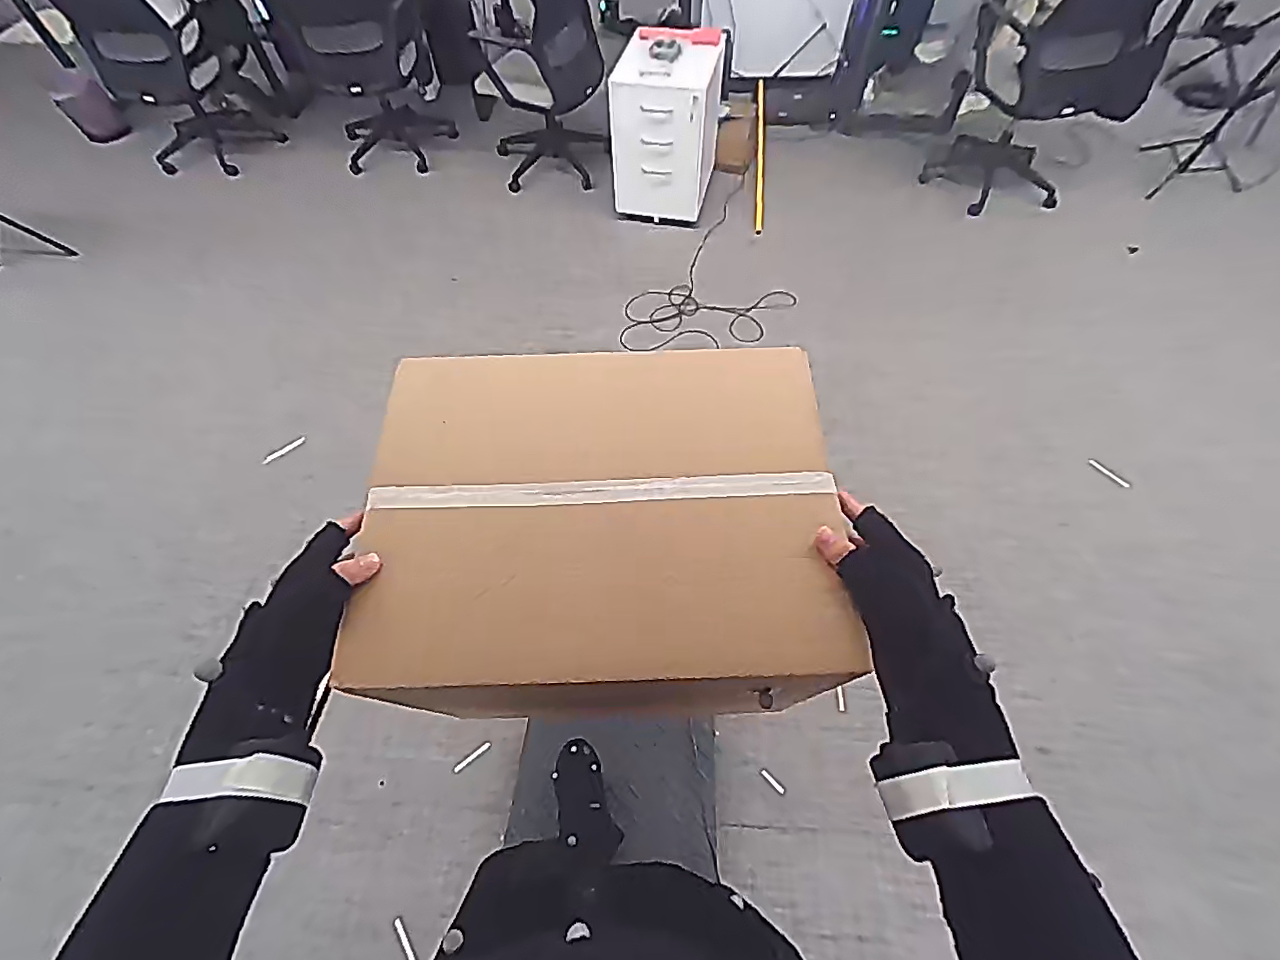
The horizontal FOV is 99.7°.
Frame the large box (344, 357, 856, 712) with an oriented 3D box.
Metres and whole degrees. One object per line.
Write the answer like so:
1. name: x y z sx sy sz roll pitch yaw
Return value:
1. large box: -0.032 0.083 0.614 0.408 0.320 0.320 -1 62 -1
